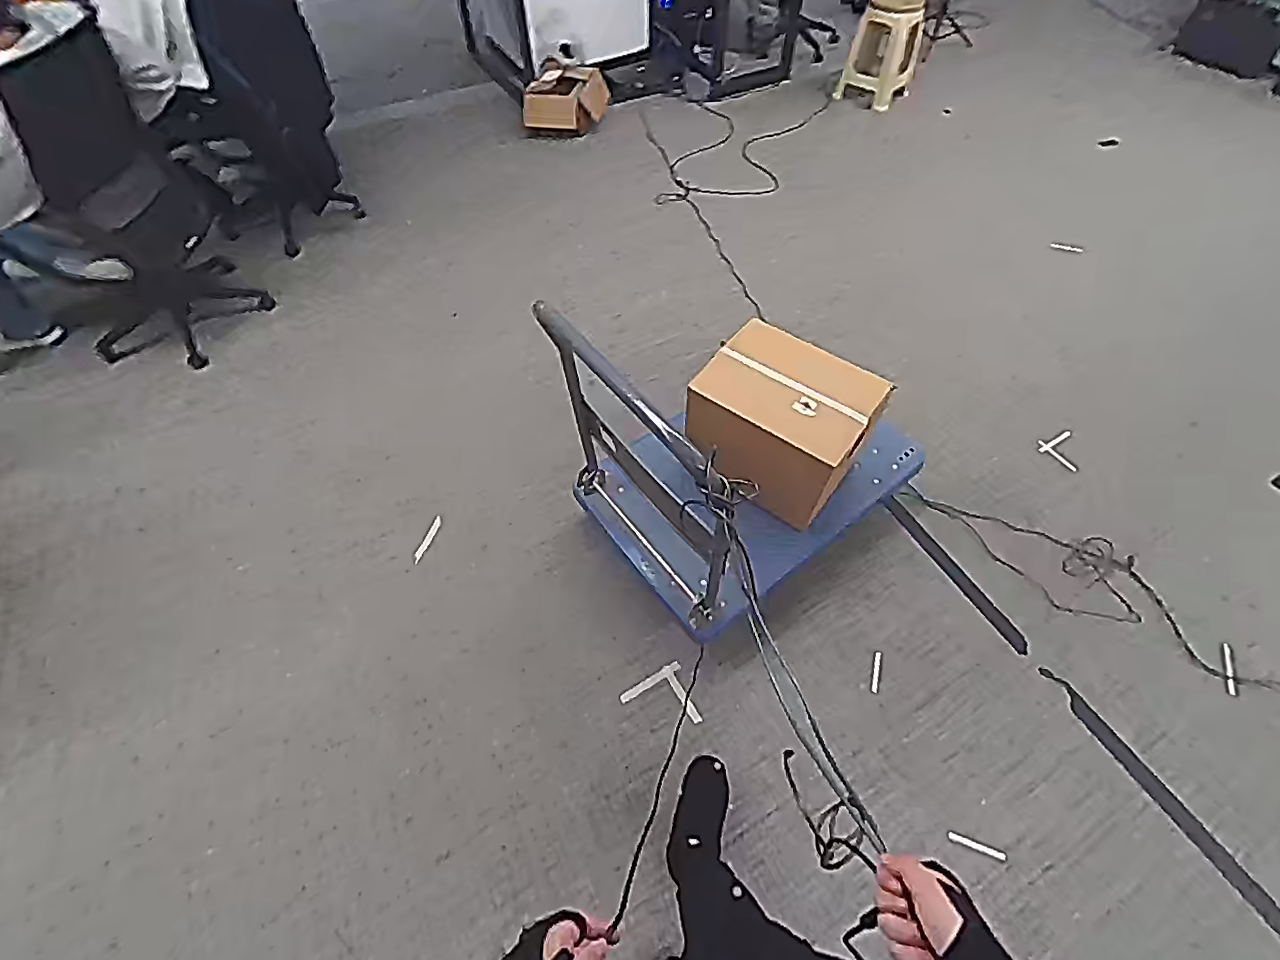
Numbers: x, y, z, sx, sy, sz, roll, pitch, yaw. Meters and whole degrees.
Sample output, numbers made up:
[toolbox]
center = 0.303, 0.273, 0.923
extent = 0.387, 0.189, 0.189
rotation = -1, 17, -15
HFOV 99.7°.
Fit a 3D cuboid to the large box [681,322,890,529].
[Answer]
[large box]
center = 0.361, -0.144, 1.439
extent = 0.408, 0.320, 0.320
rotation = 33, 64, 20
